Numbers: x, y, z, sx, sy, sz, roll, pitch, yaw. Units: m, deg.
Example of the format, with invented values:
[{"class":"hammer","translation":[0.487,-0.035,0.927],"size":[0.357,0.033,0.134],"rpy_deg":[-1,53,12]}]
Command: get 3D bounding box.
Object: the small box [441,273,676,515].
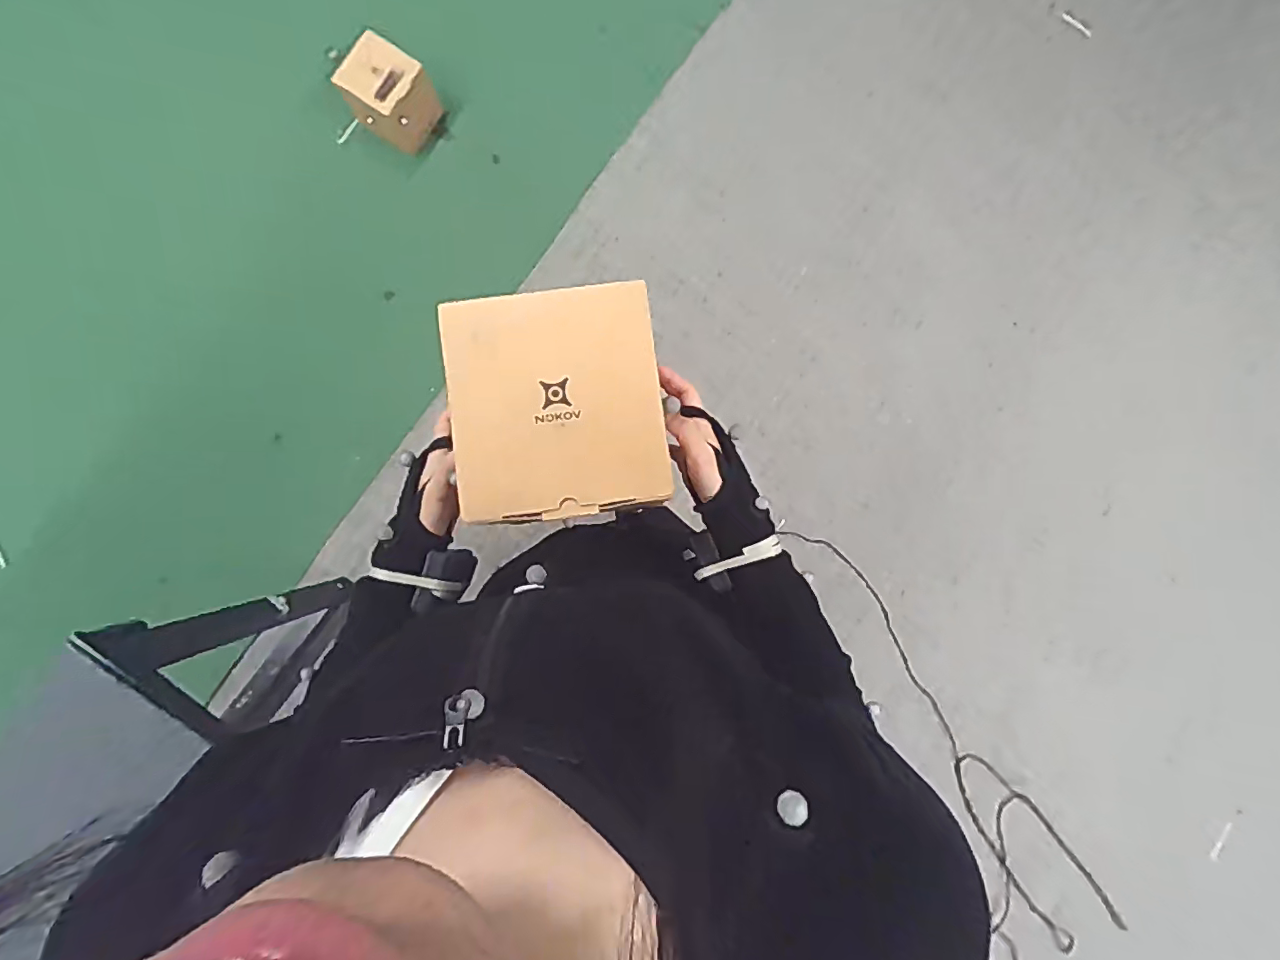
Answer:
[{"class":"small box","translation":[-0.067,-0.063,0.495],"size":[0.168,0.176,0.179],"rpy_deg":[-8,88,-3]}]
